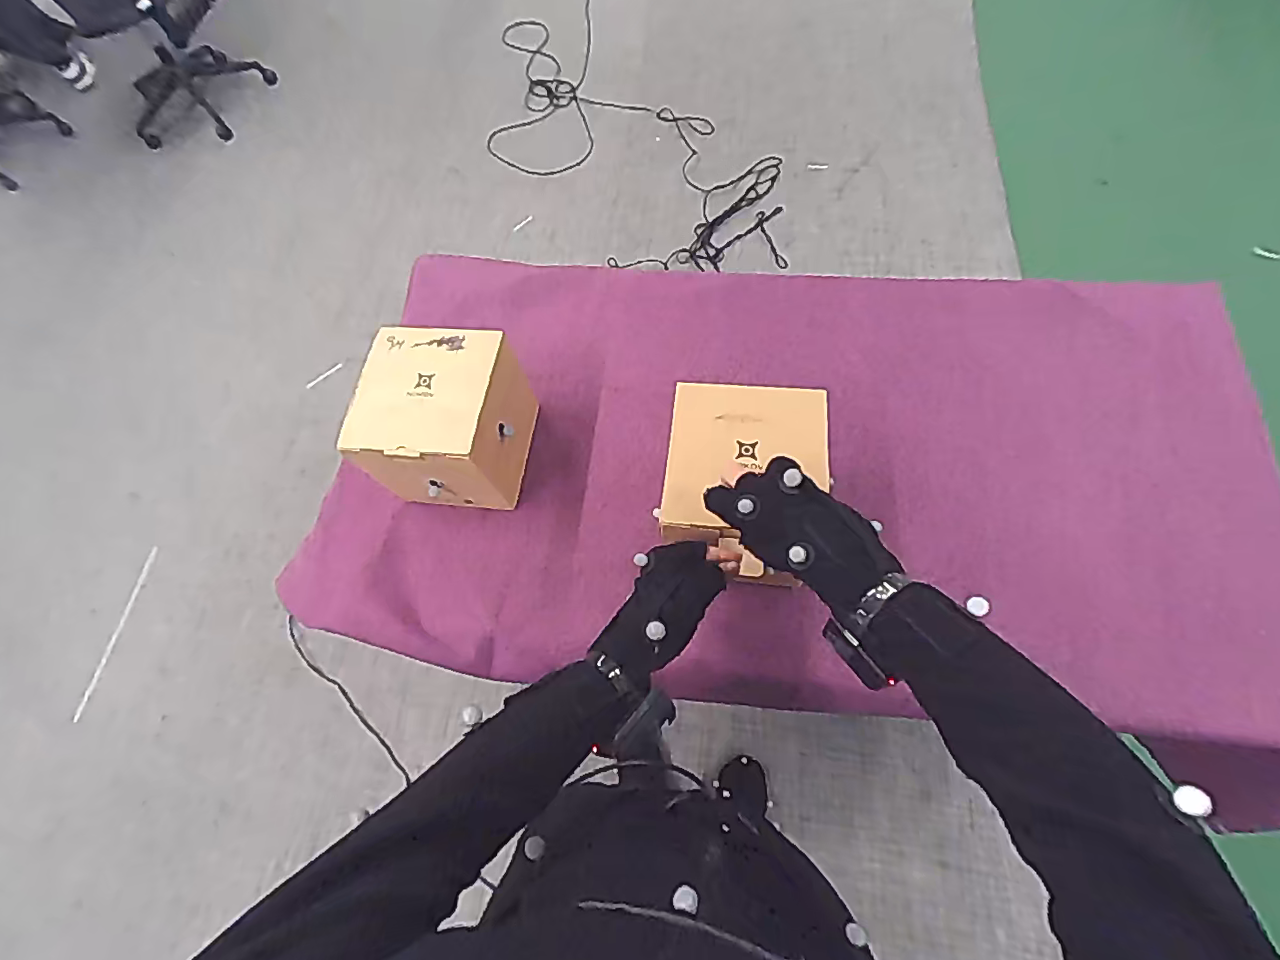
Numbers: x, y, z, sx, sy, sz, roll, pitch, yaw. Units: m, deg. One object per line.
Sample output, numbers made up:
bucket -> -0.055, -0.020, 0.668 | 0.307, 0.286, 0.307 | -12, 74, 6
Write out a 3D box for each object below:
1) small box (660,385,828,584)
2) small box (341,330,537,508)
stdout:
small box -> 0.119, 0.012, 0.632 | 0.168, 0.176, 0.179 | 5, 63, 8
small box -> -0.246, -0.073, 0.713 | 0.168, 0.176, 0.179 | 4, 67, 8
